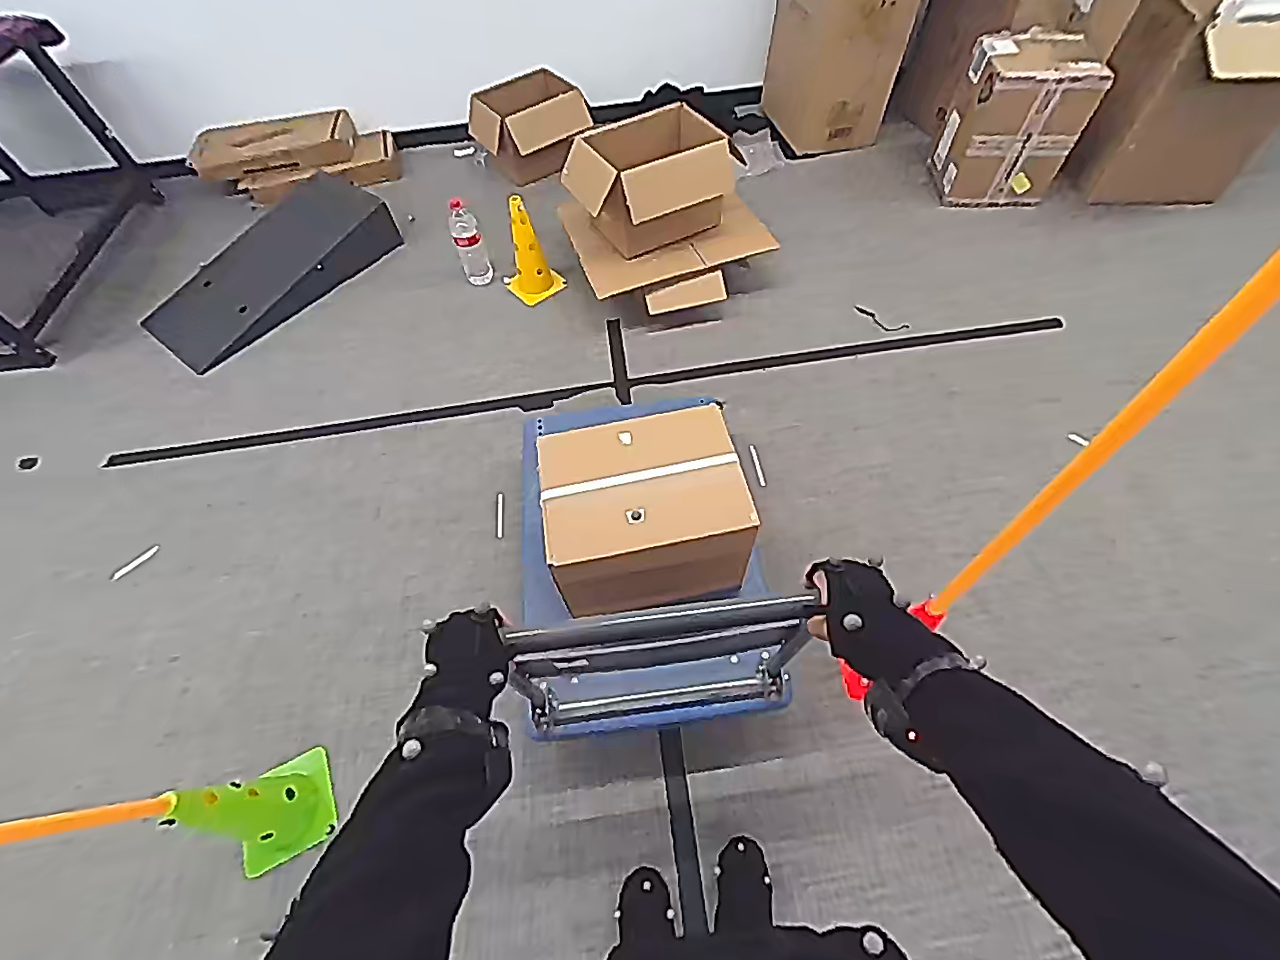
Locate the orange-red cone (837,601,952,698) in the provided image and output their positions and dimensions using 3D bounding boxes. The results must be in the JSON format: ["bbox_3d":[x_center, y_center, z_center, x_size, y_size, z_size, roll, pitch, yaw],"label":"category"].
[{"bbox_3d":[0.591,0.341,1.187,0.199,0.360,0.198,-2,58,1],"label":"orange-red cone"}]
